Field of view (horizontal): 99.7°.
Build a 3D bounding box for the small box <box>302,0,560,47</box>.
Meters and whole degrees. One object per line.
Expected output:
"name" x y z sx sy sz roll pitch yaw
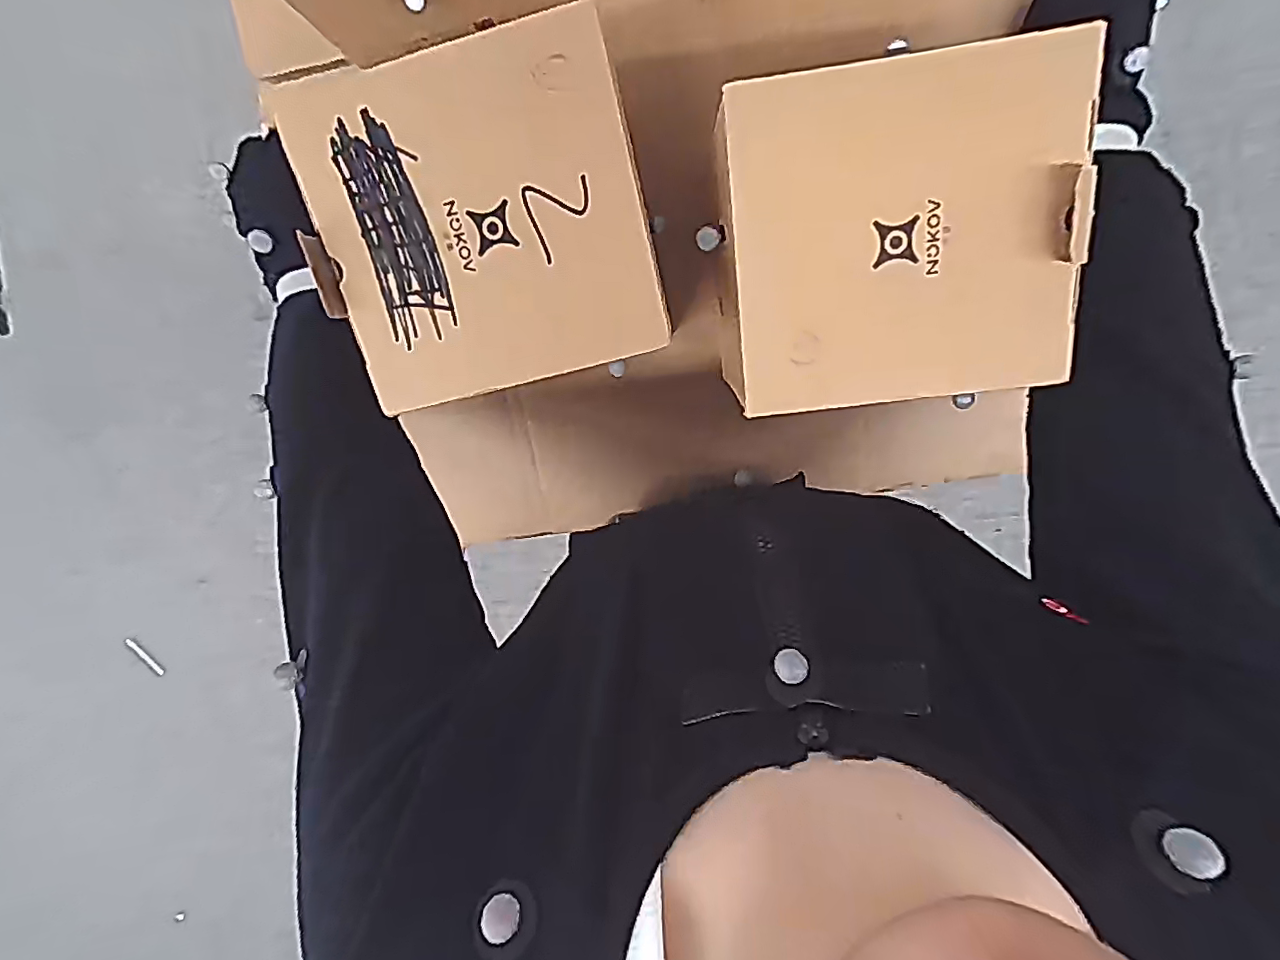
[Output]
"small box" -0.151 -0.391 0.308 0.168 0.176 0.179 -9 102 6
